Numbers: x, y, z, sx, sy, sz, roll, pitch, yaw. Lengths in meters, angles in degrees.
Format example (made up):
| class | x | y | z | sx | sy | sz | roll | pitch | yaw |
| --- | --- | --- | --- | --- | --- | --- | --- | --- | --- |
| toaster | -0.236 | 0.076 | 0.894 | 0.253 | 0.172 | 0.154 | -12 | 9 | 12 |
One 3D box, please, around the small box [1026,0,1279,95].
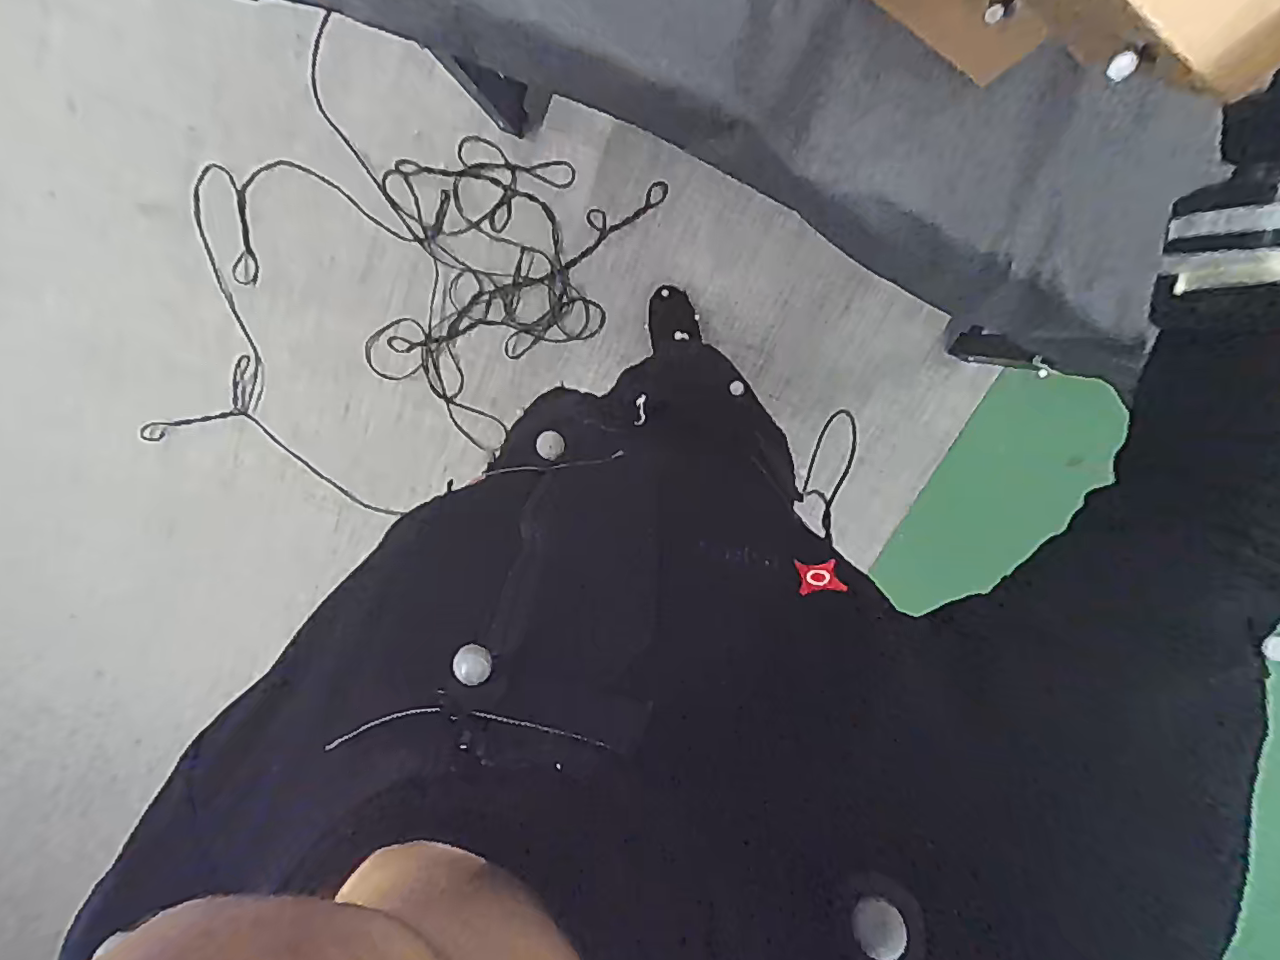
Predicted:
| class | x | y | z | sx | sy | sz | roll | pitch | yaw |
| --- | --- | --- | --- | --- | --- | --- | --- | --- | --- |
| small box | 0.248 | -0.308 | 0.227 | 0.179 | 0.176 | 0.168 | 26 | 133 | -14 |
